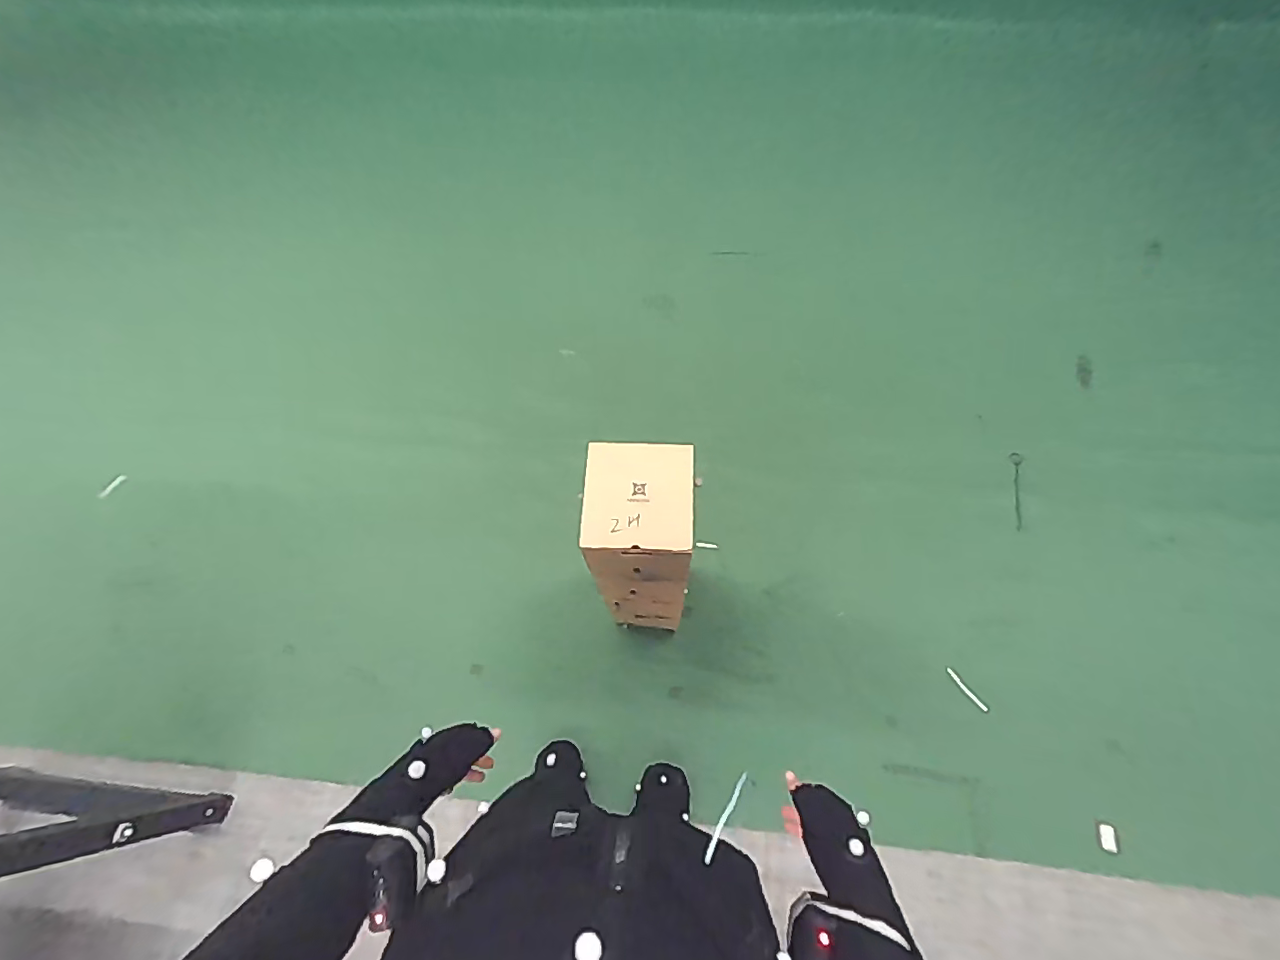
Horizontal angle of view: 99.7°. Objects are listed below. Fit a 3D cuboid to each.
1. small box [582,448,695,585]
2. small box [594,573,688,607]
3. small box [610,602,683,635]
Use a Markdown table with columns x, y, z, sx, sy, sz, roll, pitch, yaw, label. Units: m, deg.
| x | y | z | sx | sy | sz | roll | pitch | yaw | label |
| --- | --- | --- | --- | --- | --- | --- | --- | --- | --- |
| 0.002 | 0.064 | 0.889 | 0.168 | 0.176 | 0.179 | 1 | 66 | 3 | small box |
| 0.008 | 0.135 | 1.036 | 0.168 | 0.176 | 0.179 | 2 | 66 | 3 | small box |
| 0.025 | 0.277 | 1.331 | 0.168 | 0.176 | 0.179 | 5 | 66 | 5 | small box |
